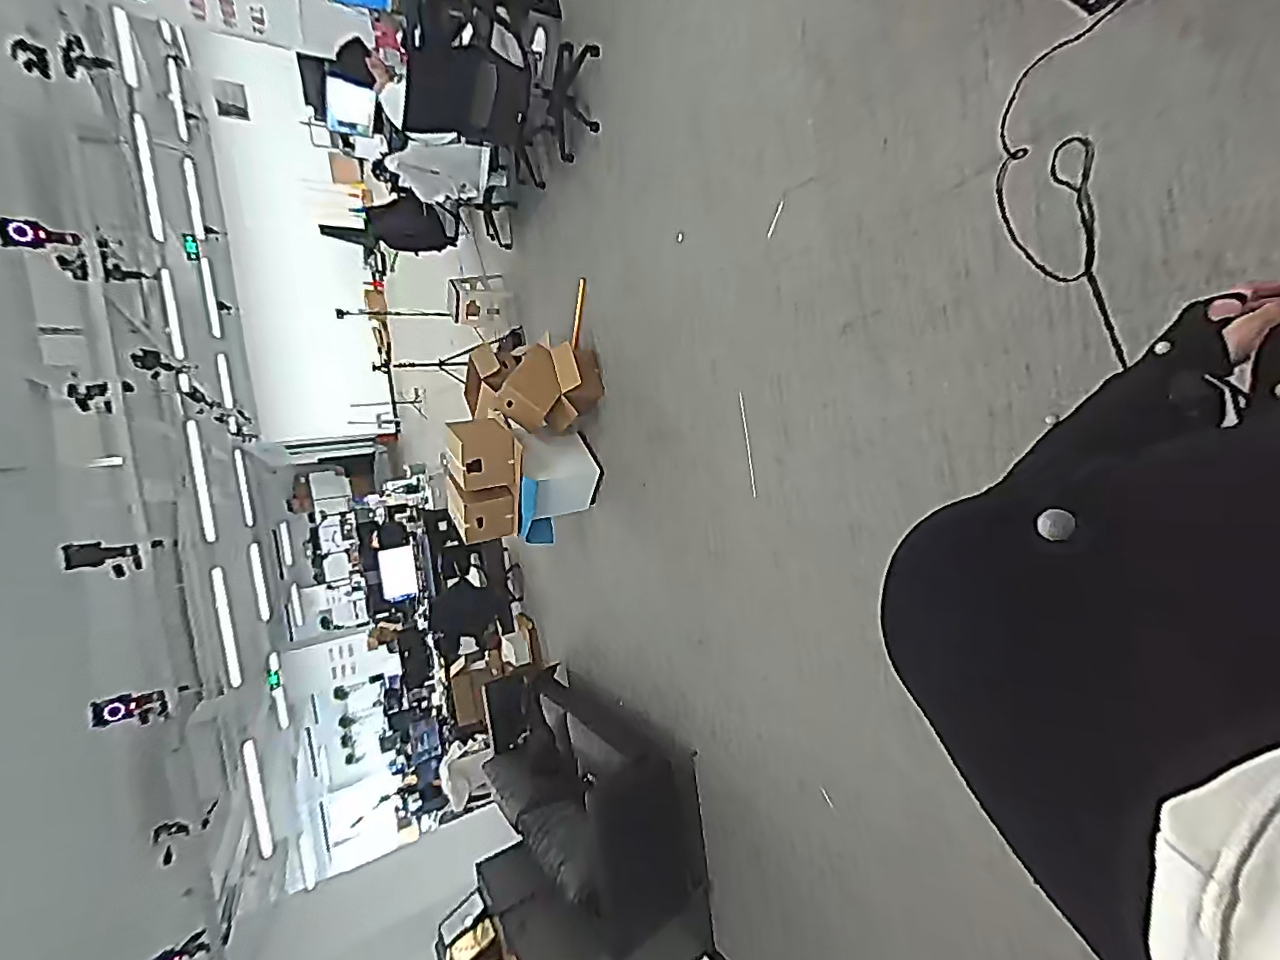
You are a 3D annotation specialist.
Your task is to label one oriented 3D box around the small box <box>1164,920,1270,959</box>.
[{"bbox_3d":[1.173,1.045,1.072,0.168,0.176,0.179,9,105,58],"label":"small box"}]
